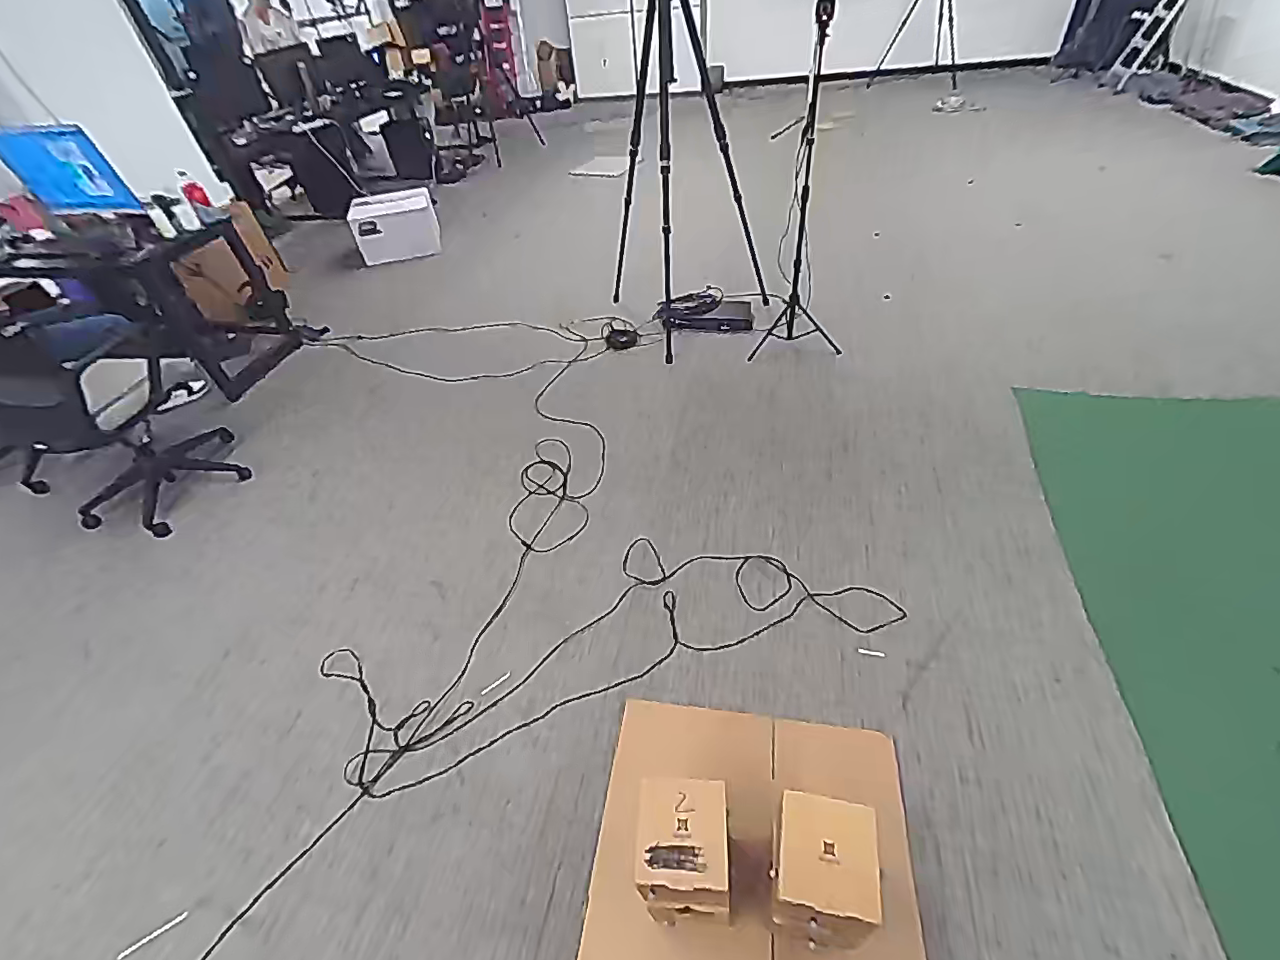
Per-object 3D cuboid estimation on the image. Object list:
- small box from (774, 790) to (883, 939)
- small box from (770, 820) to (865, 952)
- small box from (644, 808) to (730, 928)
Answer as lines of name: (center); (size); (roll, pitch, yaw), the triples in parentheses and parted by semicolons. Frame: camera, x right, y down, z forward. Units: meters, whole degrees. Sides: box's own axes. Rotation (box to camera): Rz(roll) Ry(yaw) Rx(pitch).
small box: (0.340, 0.709, 0.999); (0.168, 0.176, 0.179); (5, 46, 14)
small box: (0.354, 0.830, 1.107); (0.168, 0.176, 0.179); (2, 45, 13)
small box: (0.106, 0.823, 1.146); (0.168, 0.176, 0.179); (0, 44, 8)
